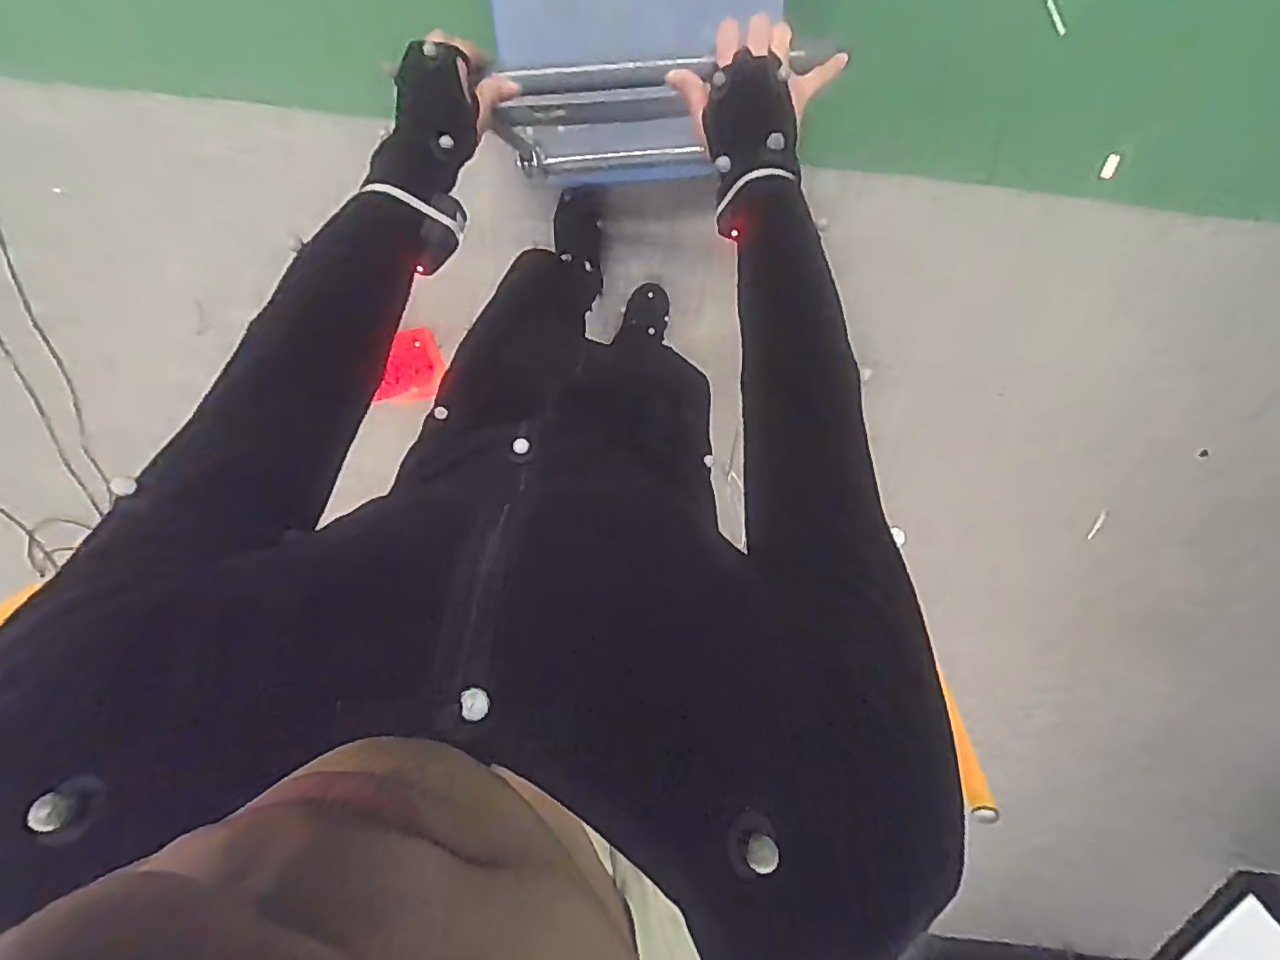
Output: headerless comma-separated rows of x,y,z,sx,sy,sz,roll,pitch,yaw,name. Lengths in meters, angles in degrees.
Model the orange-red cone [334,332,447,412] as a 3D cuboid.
-0.682,-0.249,1.409,0.199,0.360,0.198,-6,115,7,orange-red cone
